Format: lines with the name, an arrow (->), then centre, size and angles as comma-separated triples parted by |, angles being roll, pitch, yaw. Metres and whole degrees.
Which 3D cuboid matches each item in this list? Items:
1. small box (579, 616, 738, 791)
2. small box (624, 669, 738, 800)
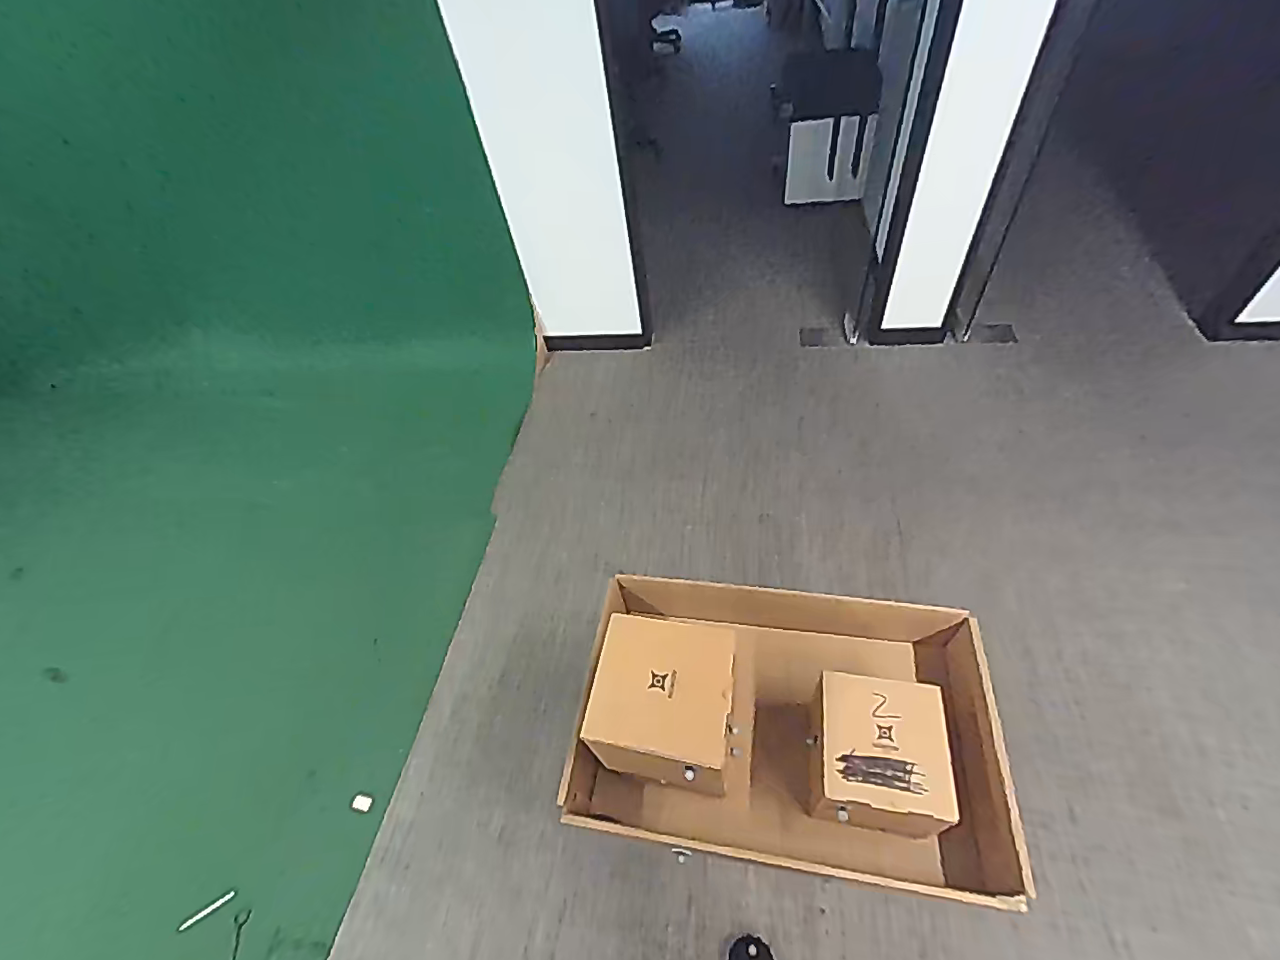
small box -> 0.037, 0.308, 0.739 | 0.179, 0.176, 0.168 | 5, 53, 13
small box -> 0.062, 0.398, 0.872 | 0.179, 0.176, 0.168 | 5, 52, 13
